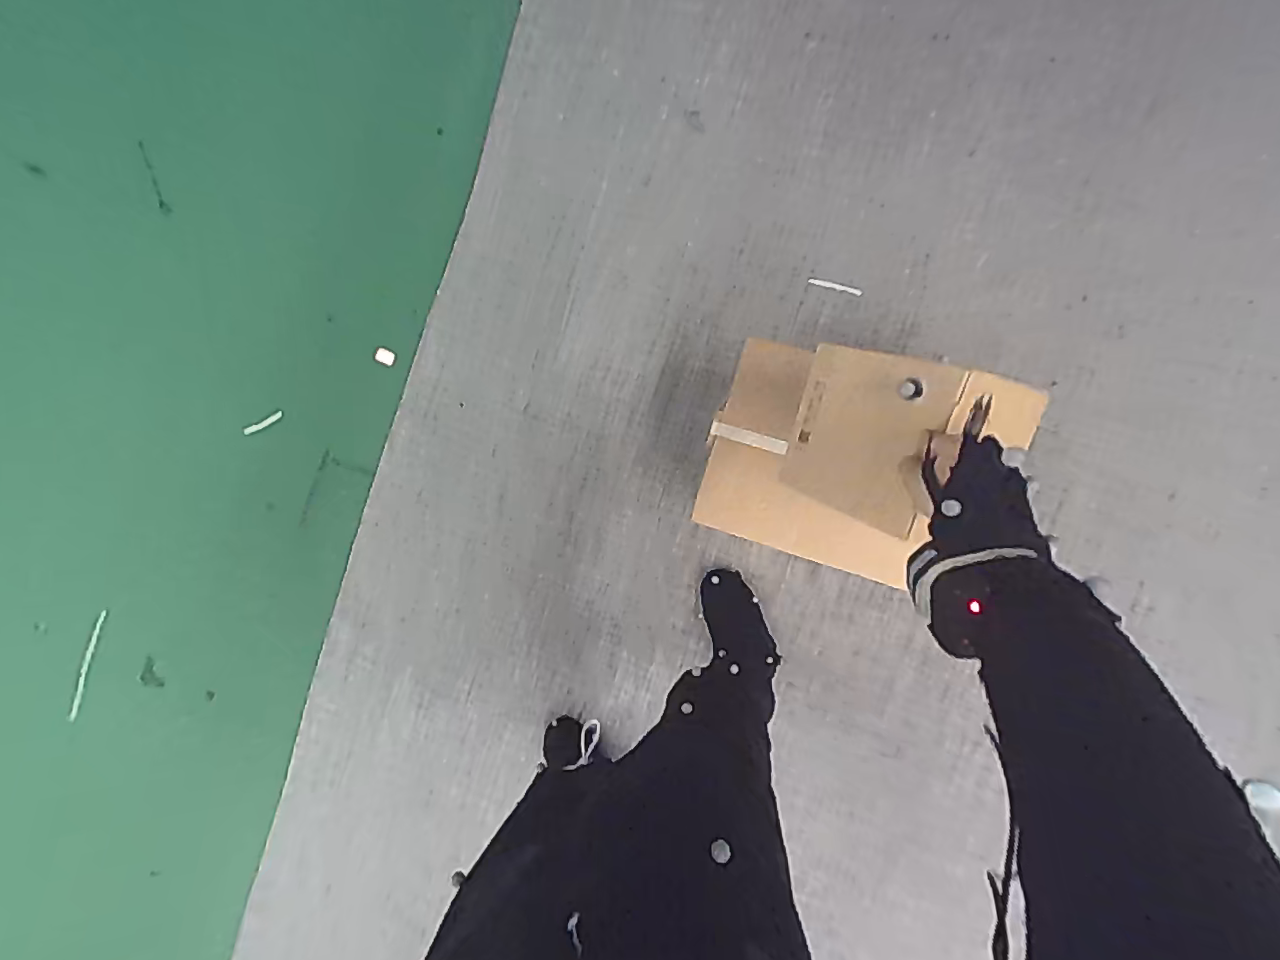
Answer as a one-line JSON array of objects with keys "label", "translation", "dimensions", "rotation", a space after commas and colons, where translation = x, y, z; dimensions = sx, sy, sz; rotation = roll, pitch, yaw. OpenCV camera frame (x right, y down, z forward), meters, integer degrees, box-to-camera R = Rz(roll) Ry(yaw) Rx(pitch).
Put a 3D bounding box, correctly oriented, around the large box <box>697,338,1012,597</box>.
[{"label": "large box", "translation": [0.340, -0.023, 0.974], "dimensions": [0.408, 0.320, 0.320], "rotation": [18, 93, 9]}]
